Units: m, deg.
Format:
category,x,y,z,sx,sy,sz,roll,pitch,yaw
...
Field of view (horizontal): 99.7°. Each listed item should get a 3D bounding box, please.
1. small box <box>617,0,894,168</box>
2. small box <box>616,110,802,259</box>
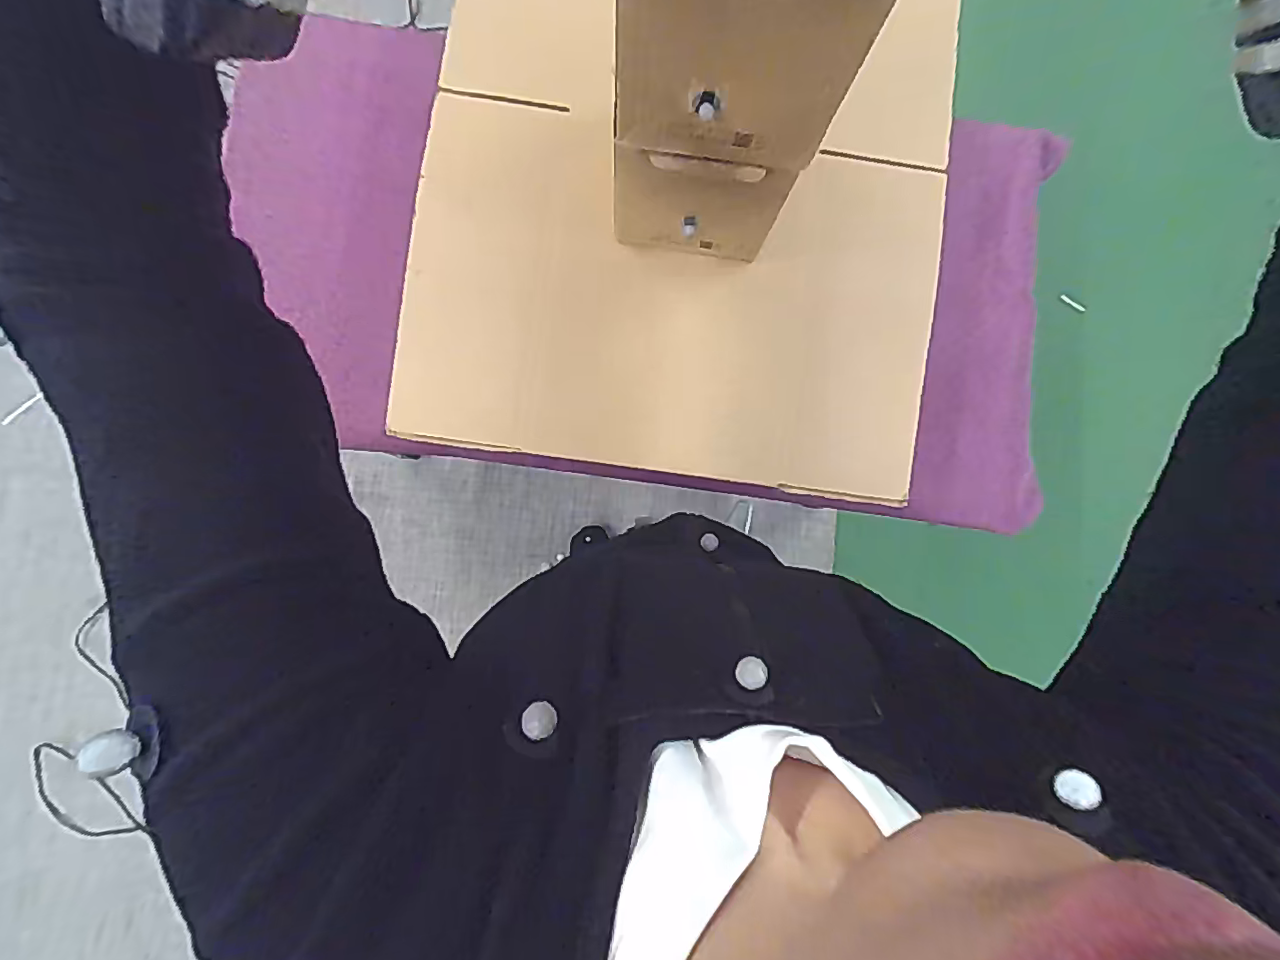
category,x,y,z,sx,sy,sz,roll,pitch,yaw
small box,0.074,-0.367,0.385,0.168,0.176,0.179,6,85,-2
small box,0.067,-0.357,0.548,0.168,0.176,0.179,8,84,-1
